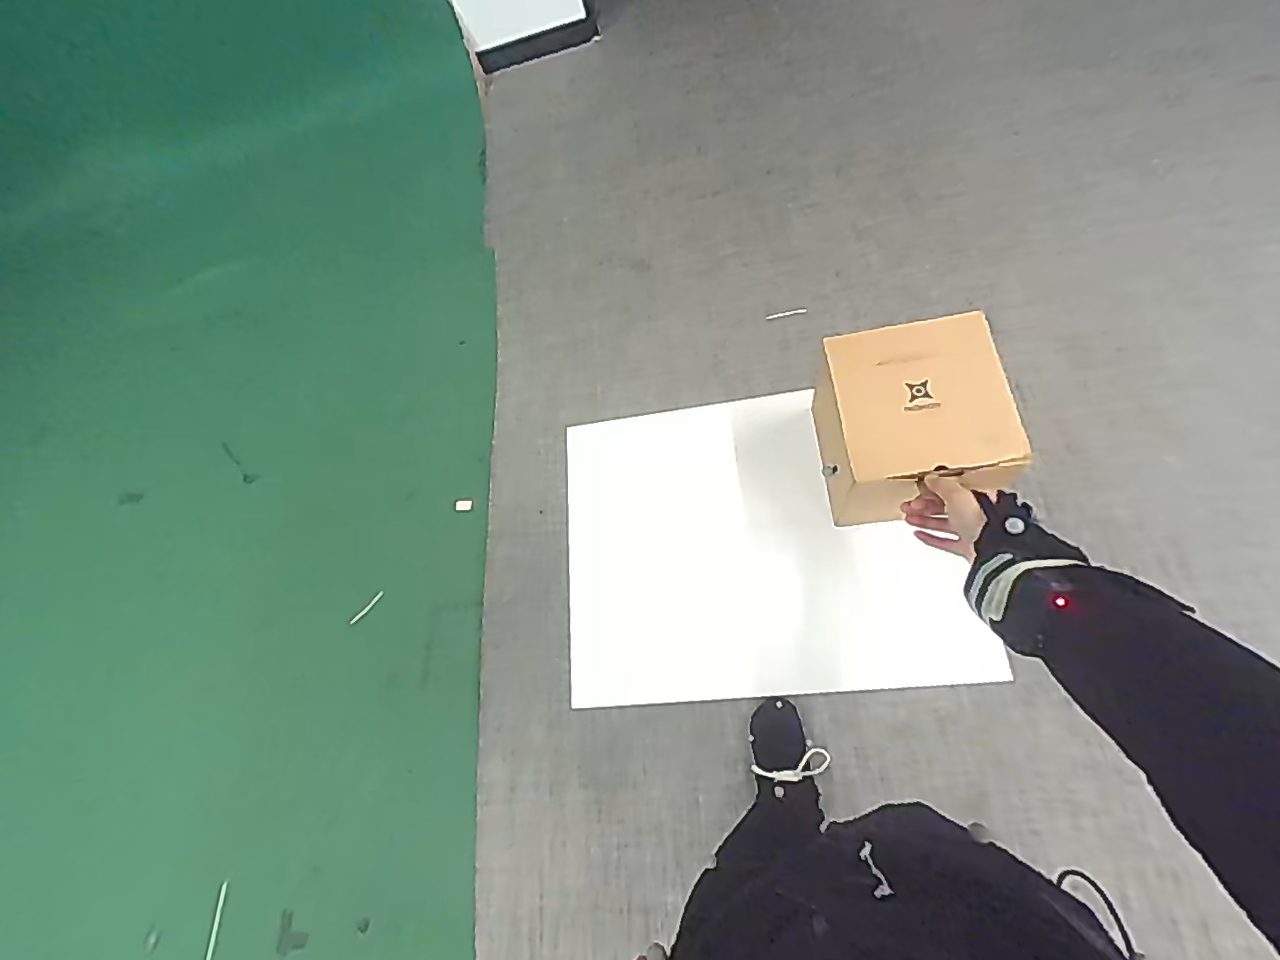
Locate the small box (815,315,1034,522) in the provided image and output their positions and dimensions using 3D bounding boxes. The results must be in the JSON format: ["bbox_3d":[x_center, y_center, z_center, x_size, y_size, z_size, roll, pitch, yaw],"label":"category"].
[{"bbox_3d":[0.305,-0.057,0.625,0.168,0.176,0.179,-8,67,10],"label":"small box"}]
